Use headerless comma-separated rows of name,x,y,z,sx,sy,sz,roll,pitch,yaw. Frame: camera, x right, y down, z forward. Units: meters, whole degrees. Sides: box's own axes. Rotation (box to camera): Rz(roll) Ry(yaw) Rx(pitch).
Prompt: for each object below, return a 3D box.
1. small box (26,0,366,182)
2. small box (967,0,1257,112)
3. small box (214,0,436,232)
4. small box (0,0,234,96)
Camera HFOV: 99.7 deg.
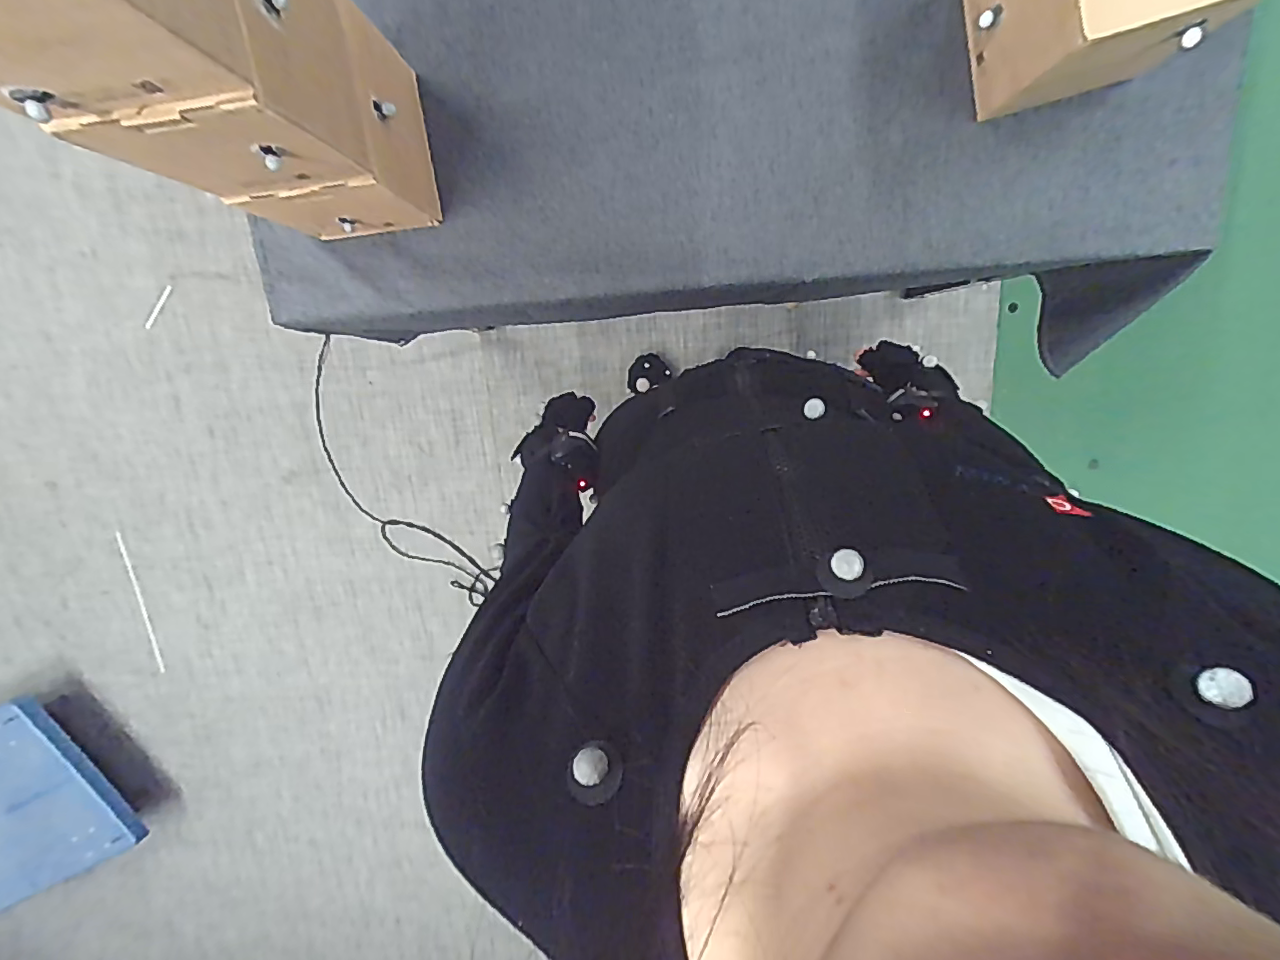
small box,-0.353,-0.360,0.438,0.168,0.176,0.179,-5,103,3
small box,0.457,-0.503,0.530,0.179,0.176,0.168,-13,102,6
small box,-0.348,-0.393,0.598,0.168,0.176,0.179,-6,103,4
small box,-0.360,-0.330,0.277,0.168,0.176,0.179,-7,103,3
